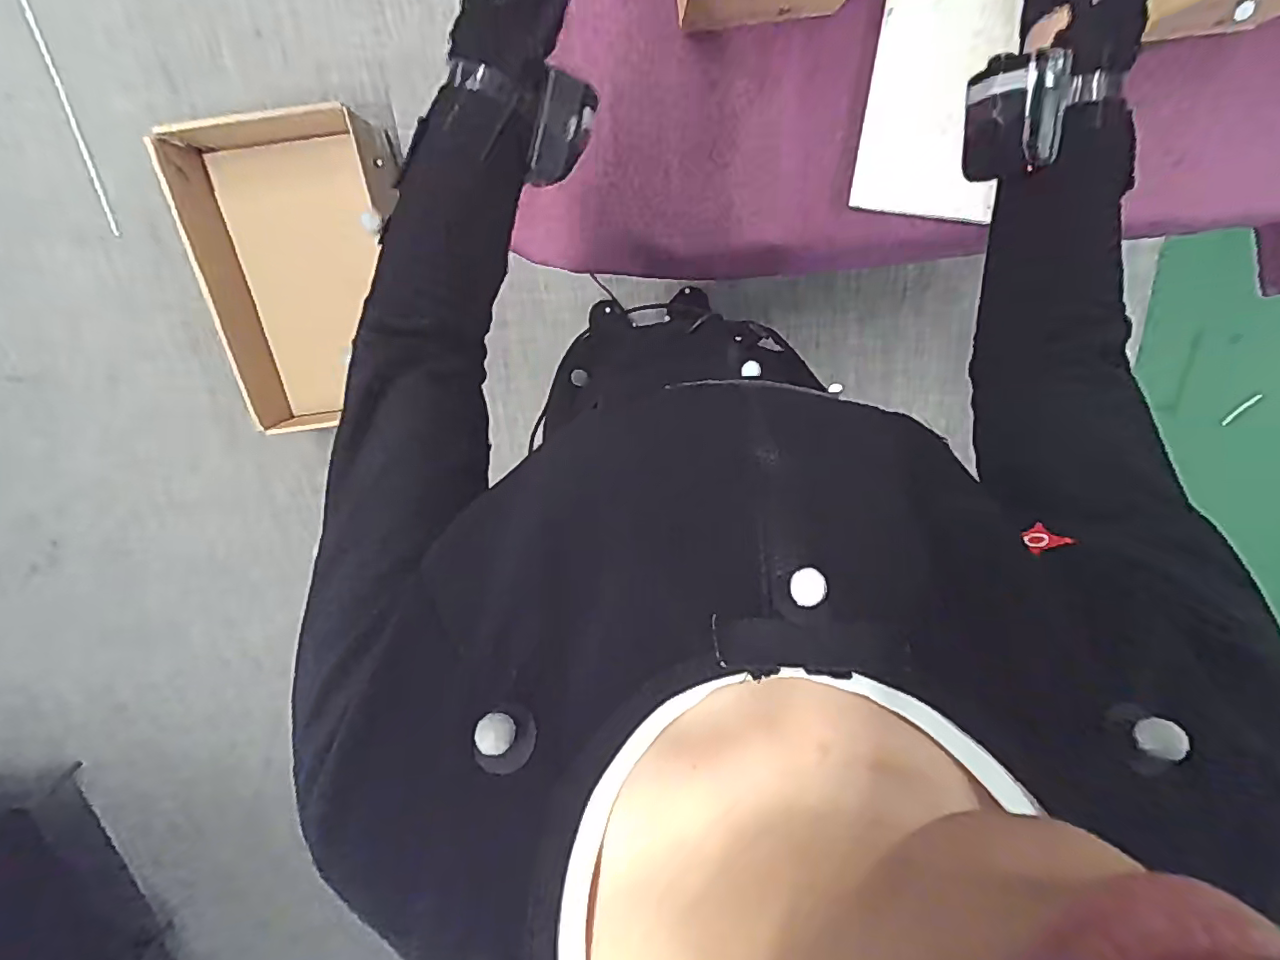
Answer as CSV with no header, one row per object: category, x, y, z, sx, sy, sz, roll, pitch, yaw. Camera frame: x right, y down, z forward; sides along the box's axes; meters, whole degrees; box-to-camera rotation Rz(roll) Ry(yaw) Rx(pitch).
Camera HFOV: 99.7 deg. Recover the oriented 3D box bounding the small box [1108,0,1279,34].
small box,0.577,-0.536,0.484,0.168,0.176,0.179,-6,110,0
